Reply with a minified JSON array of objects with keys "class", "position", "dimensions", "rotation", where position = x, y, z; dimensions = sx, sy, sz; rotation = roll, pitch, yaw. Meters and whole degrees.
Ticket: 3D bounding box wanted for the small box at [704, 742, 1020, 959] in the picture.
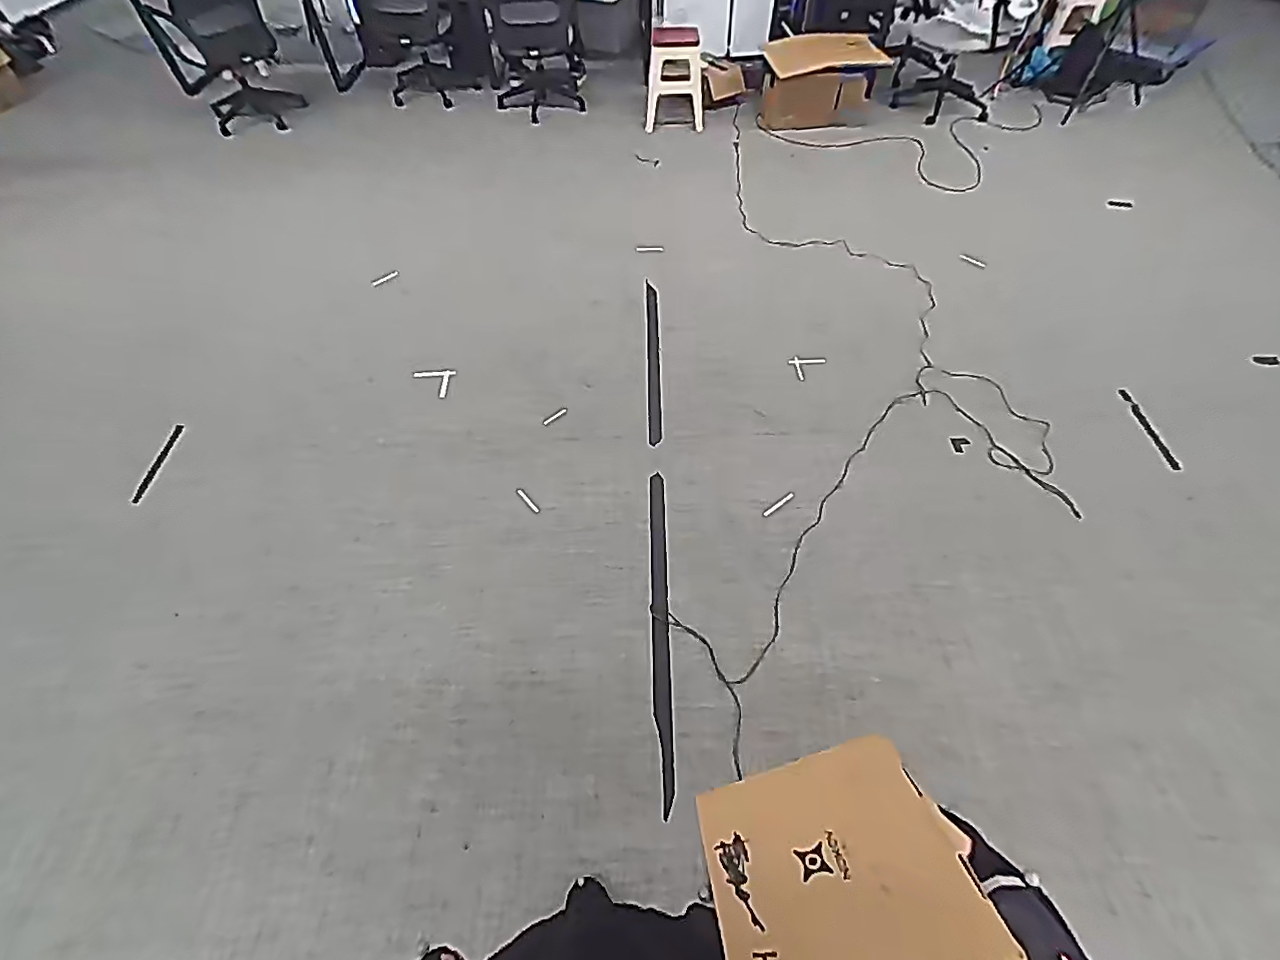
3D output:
[{"class":"small box","position":[0.168,0.355,0.431],"dimensions":[0.179,0.176,0.168],"rotation":[-19,18,3]}]
